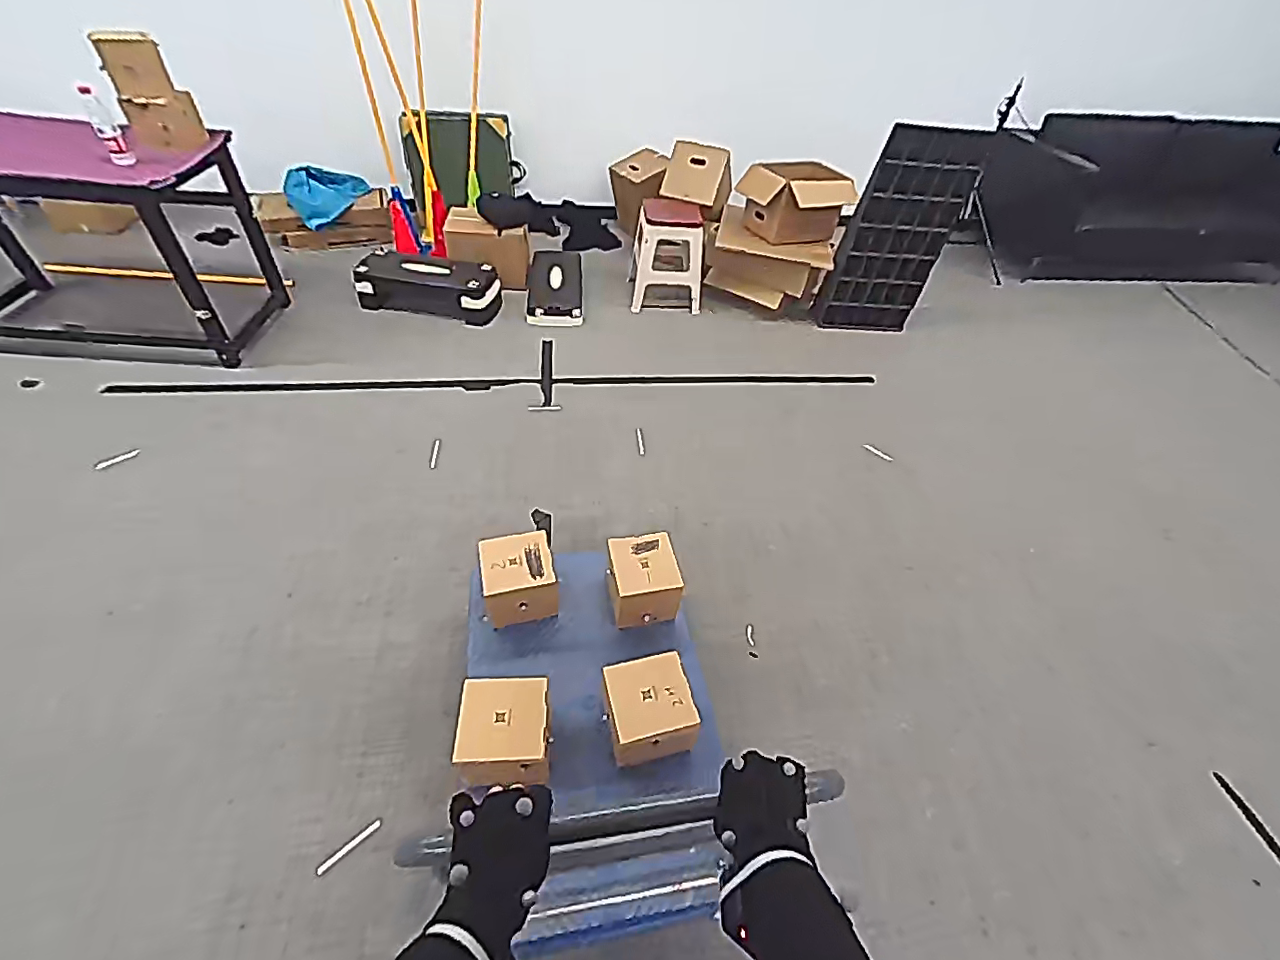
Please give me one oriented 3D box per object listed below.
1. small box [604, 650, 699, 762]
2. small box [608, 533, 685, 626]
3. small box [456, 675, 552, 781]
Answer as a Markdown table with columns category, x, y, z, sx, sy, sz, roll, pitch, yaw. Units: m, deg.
| category | x | y | z | sx | sy | sz | roll | pitch | yaw |
| --- | --- | --- | --- | --- | --- | --- | --- | --- | --- |
| small box | 0.018 | 0.513 | 1.220 | 0.179 | 0.176 | 0.168 | -8 | 48 | -13 |
| small box | 0.009 | 0.266 | 1.451 | 0.168 | 0.176 | 0.179 | -6 | 49 | -12 |
| small box | -0.283 | 0.536 | 1.166 | 0.179 | 0.176 | 0.168 | 1 | 46 | -7 |
